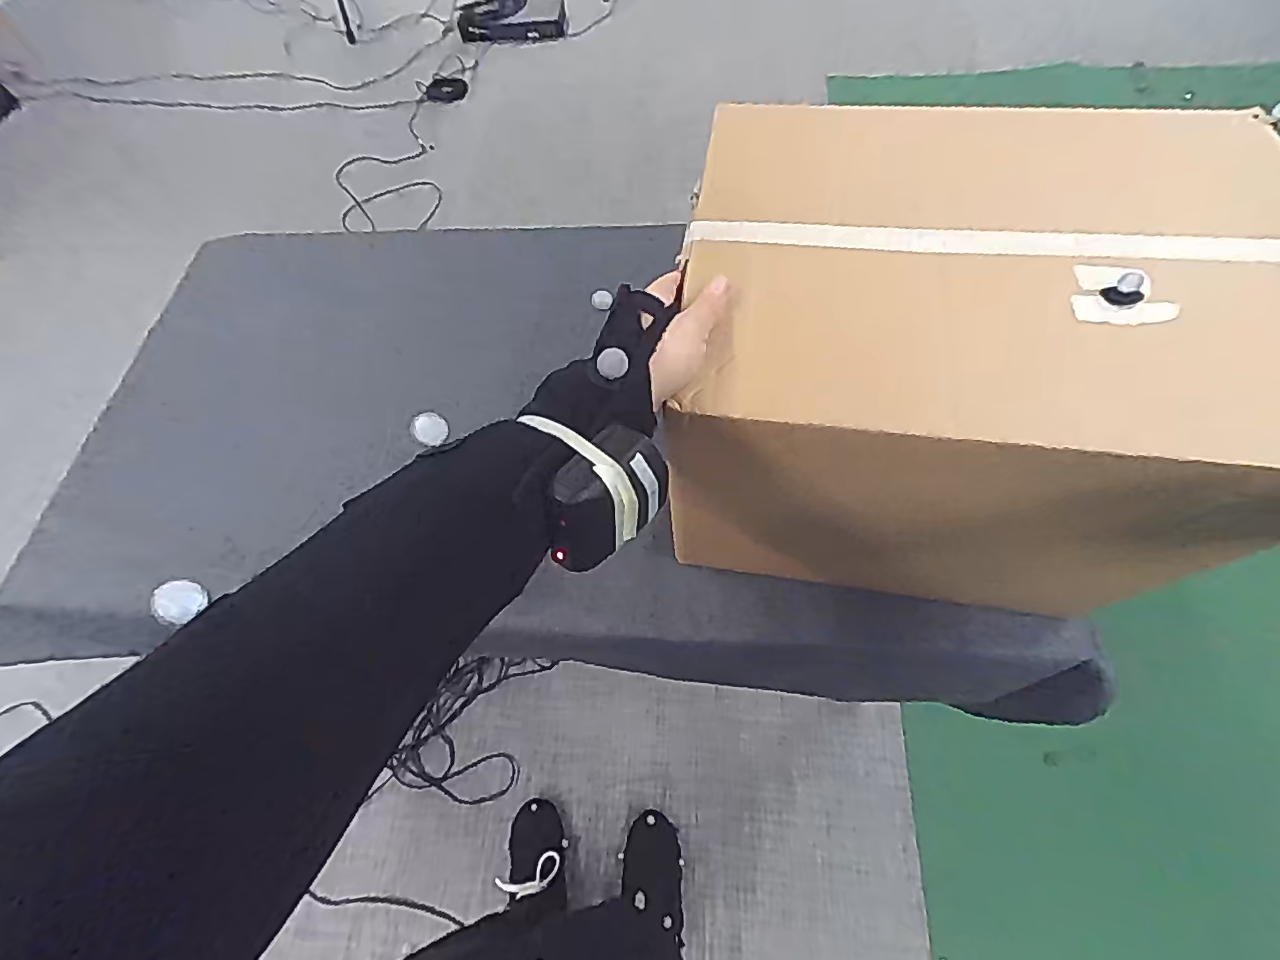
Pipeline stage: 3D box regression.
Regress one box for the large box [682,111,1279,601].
[{"bbox_3d":[0.253,-0.094,0.506,0.408,0.320,0.320,7,66,7],"label":"large box"}]
